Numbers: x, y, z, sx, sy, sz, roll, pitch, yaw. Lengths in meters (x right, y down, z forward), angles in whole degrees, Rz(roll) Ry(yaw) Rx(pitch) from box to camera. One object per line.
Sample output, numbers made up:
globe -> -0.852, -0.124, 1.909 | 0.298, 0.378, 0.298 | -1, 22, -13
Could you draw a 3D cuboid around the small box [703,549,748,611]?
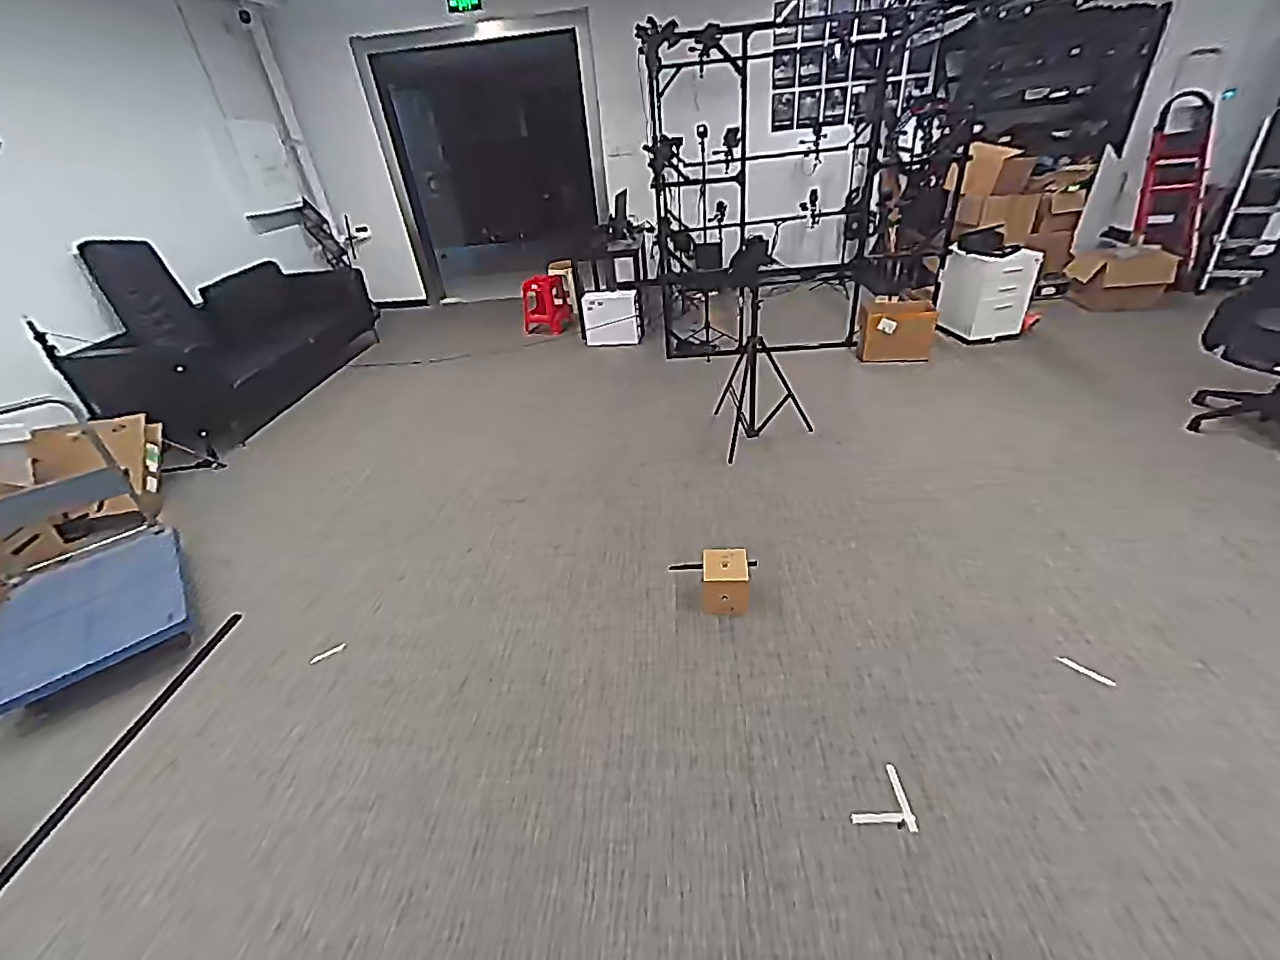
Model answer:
small box -> 0.326, 0.384, 2.063 | 0.168, 0.176, 0.179 | -1, 33, 7
